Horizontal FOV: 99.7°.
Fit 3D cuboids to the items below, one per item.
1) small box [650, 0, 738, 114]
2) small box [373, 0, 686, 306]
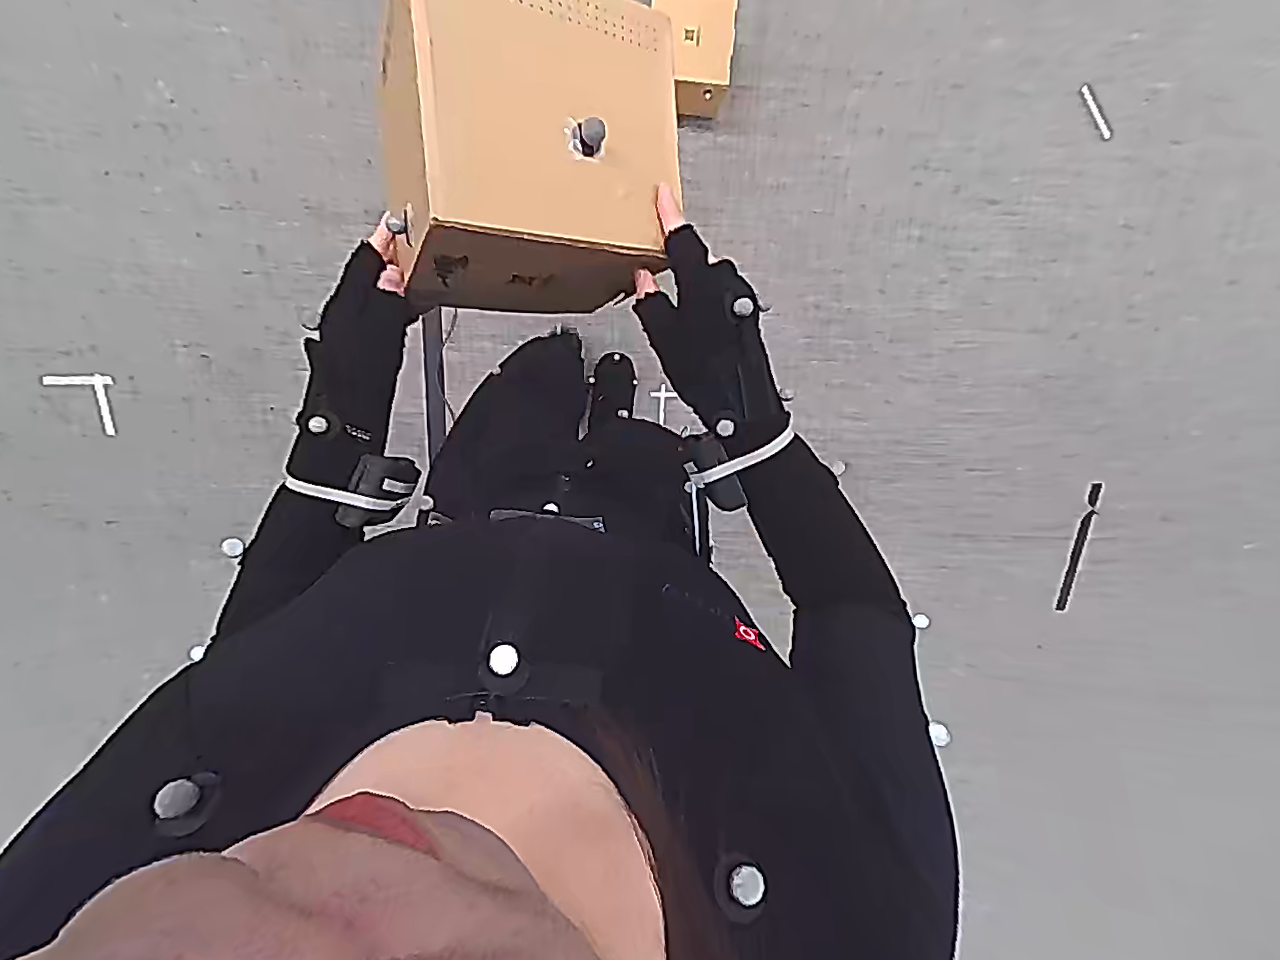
[{"bbox_3d":[0.102,-0.924,1.173,0.179,0.176,0.168,4,105,-4],"label":"small box"},{"bbox_3d":[-0.087,-0.239,0.405,0.179,0.168,0.176,-7,94,-30],"label":"small box"}]
